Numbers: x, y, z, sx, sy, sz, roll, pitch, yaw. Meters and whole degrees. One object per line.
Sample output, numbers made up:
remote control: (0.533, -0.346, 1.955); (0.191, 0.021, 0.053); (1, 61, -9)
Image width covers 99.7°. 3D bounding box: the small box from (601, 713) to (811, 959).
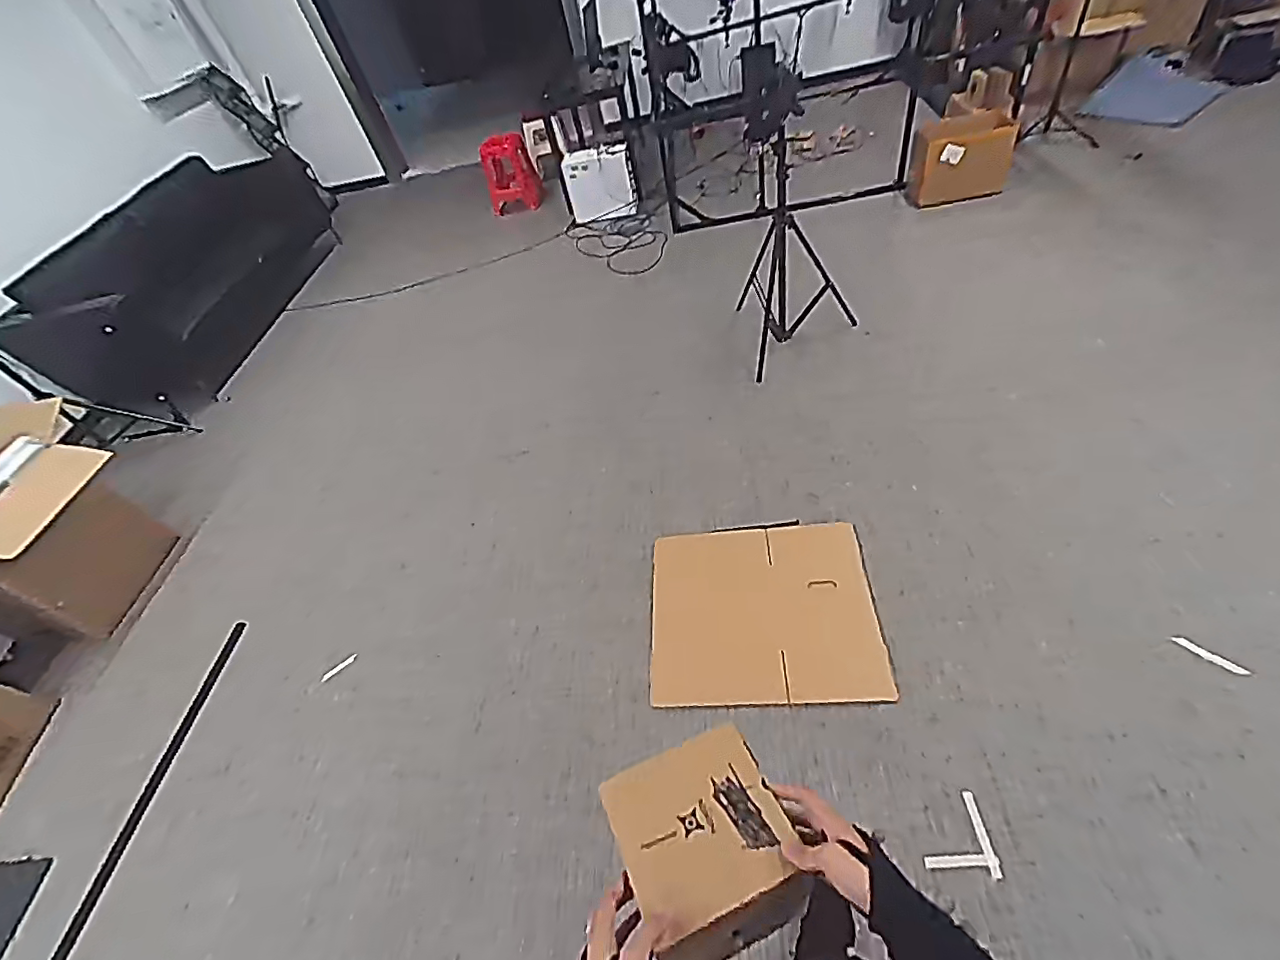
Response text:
small box: (0.072, 0.414, 0.626); (0.179, 0.176, 0.168); (-20, 39, -12)
